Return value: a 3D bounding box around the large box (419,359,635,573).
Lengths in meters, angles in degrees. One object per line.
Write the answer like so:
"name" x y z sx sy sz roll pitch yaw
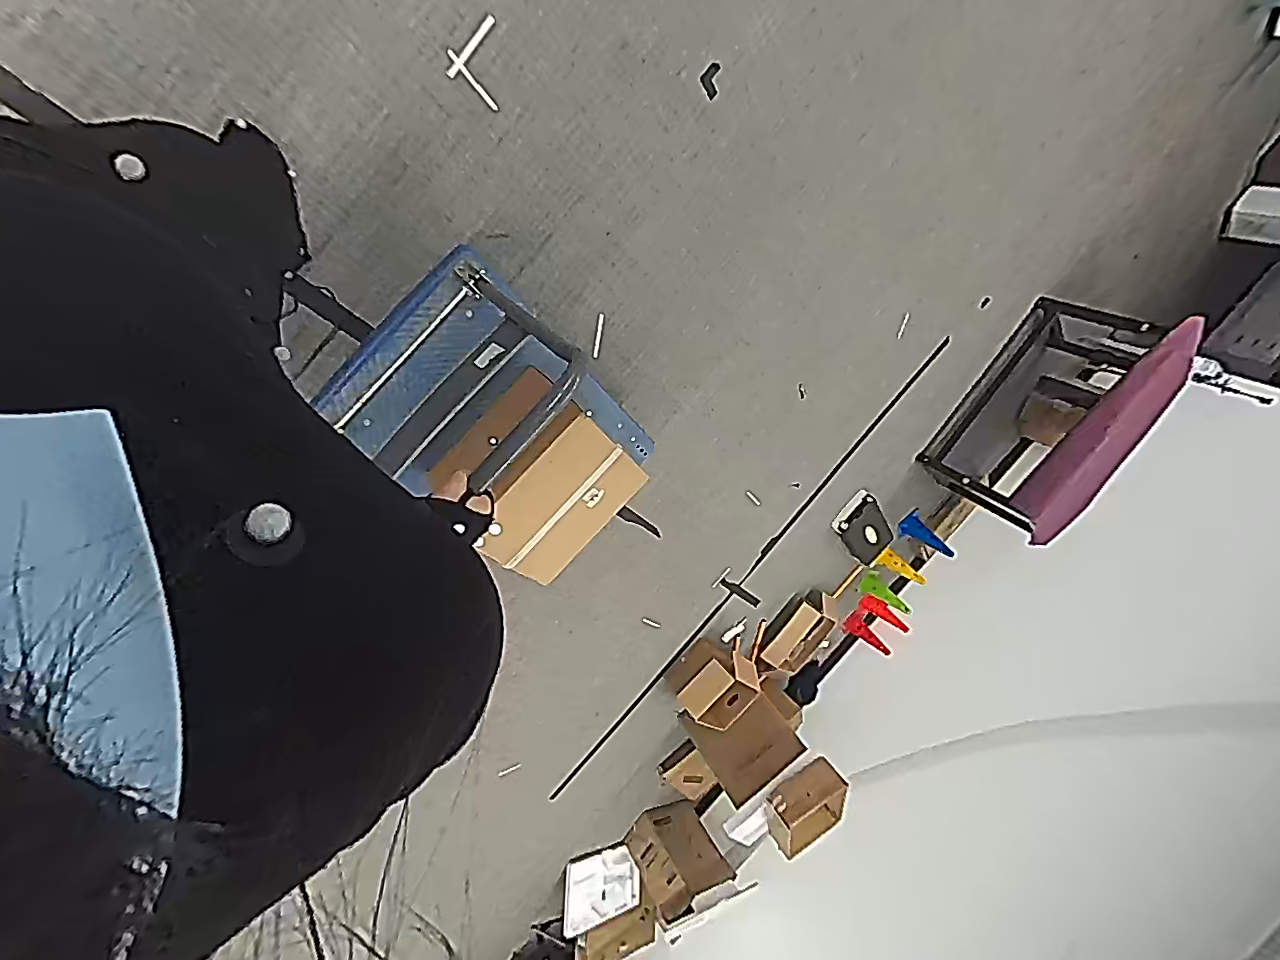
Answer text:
"large box" -0.300 -0.038 1.427 0.408 0.320 0.320 -47 137 -1
